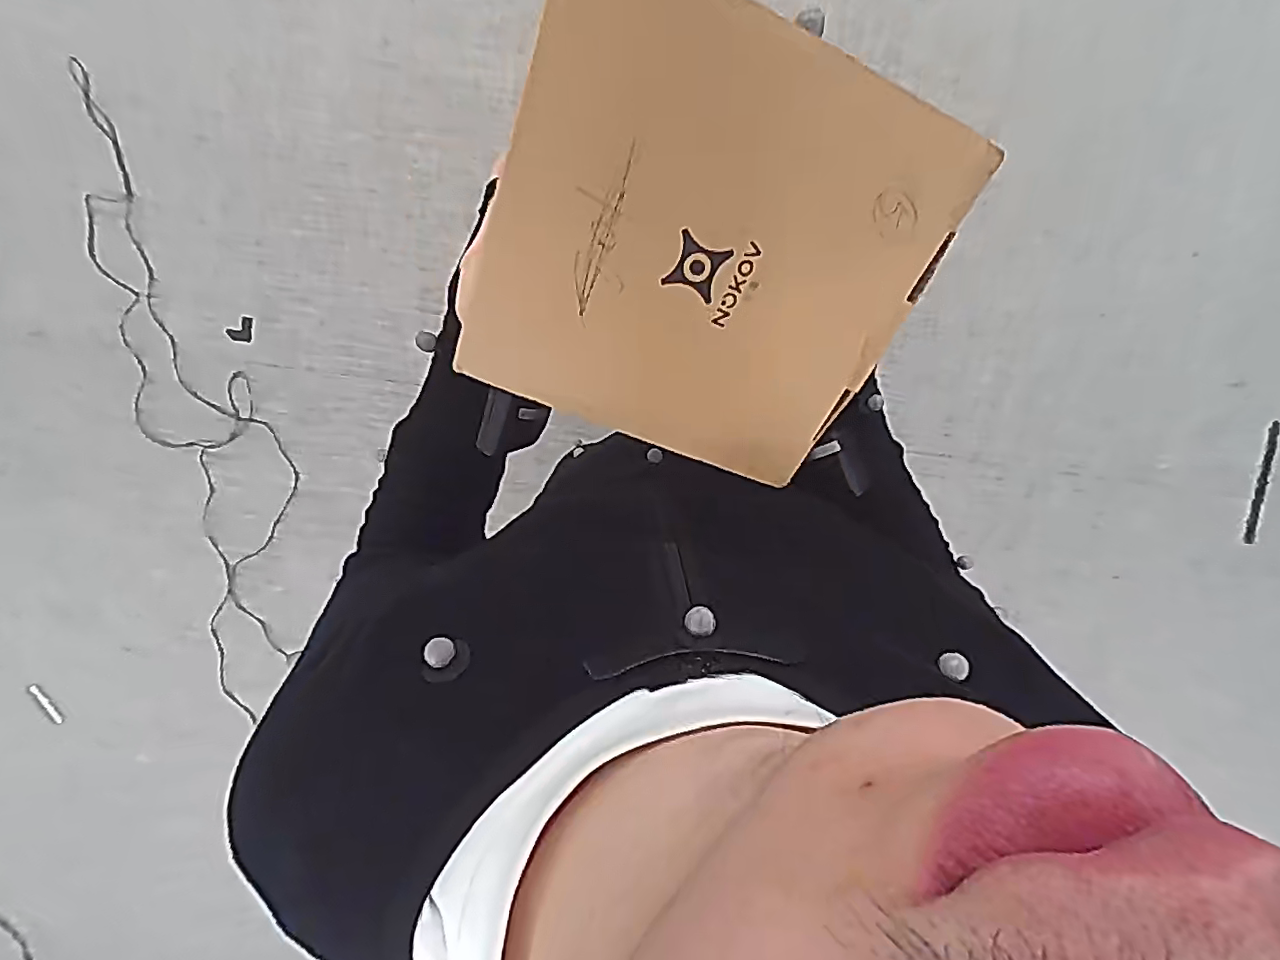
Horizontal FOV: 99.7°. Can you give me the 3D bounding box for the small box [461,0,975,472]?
[{"bbox_3d":[0.024,-0.136,0.302,0.179,0.176,0.168,19,120,-12],"label":"small box"}]
